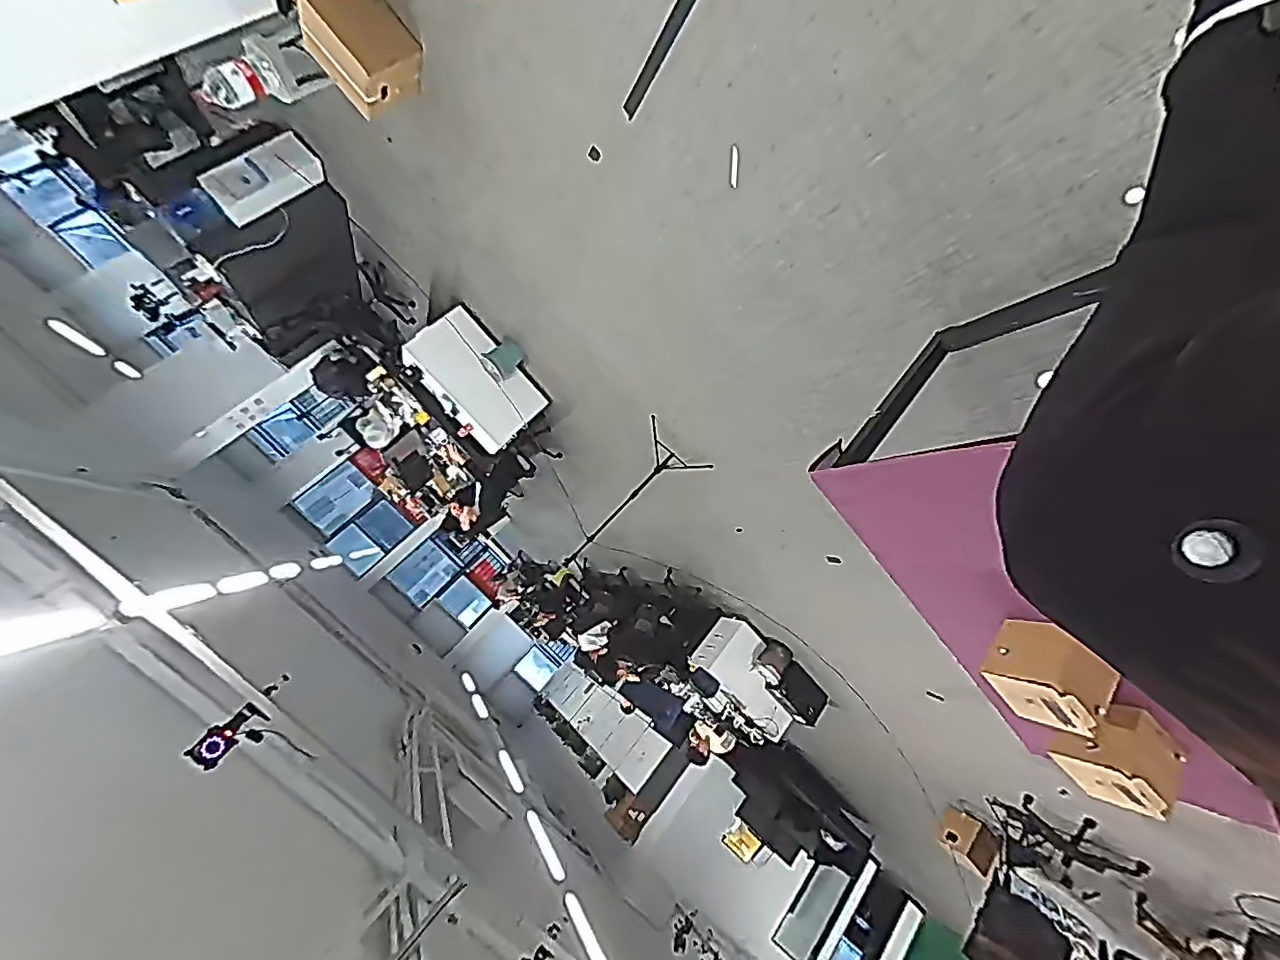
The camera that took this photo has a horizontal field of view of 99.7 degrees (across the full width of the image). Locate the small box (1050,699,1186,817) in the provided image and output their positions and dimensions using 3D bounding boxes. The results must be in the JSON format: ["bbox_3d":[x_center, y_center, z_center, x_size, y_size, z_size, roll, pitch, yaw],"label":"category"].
[{"bbox_3d":[1.151,0.654,1.298,0.168,0.176,0.179,45,160,-3],"label":"small box"}]
